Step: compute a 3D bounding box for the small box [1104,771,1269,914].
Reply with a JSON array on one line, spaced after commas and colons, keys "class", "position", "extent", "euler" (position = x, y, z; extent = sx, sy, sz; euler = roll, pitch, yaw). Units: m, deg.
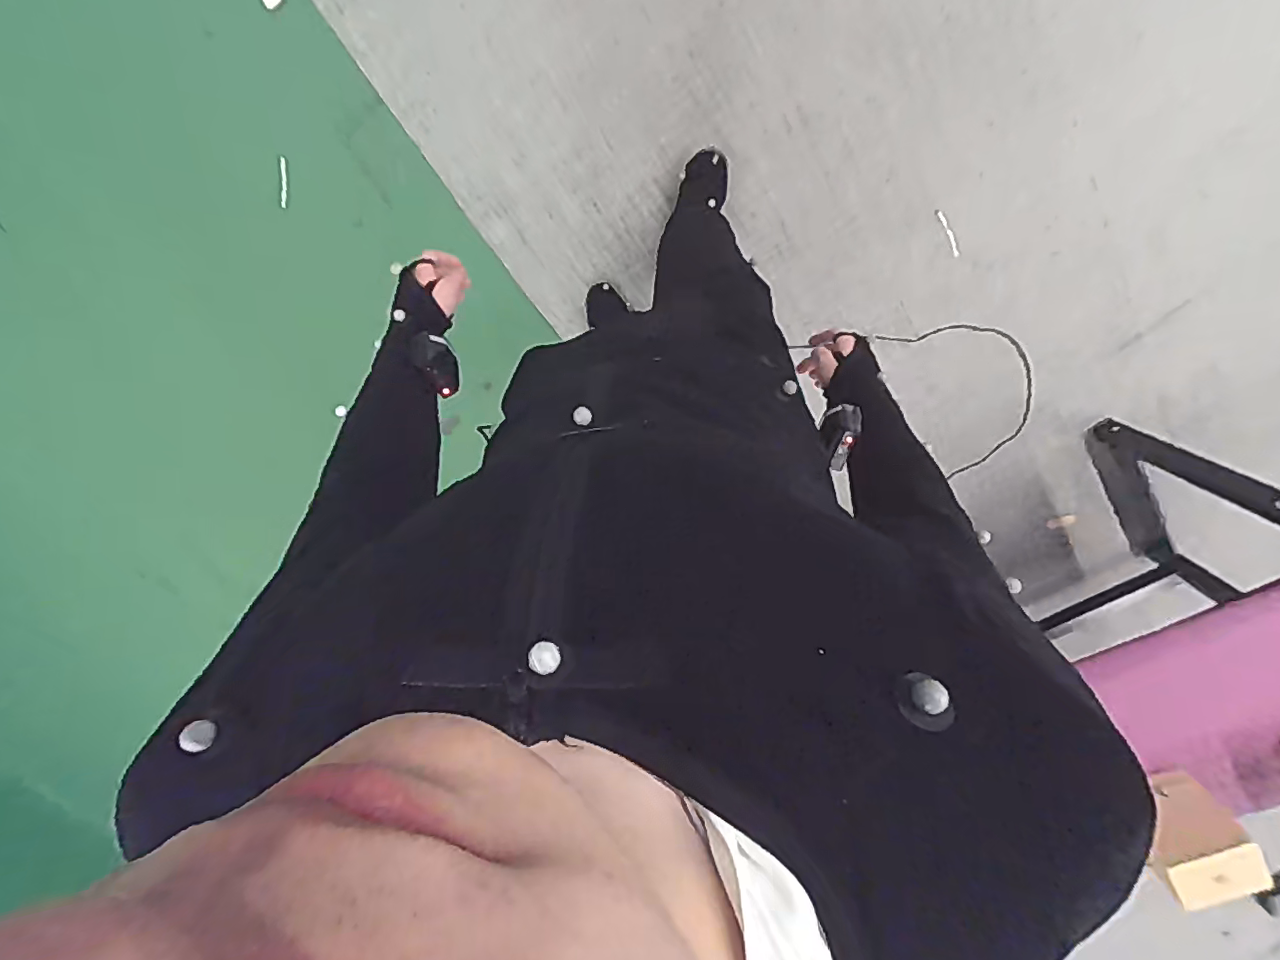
[{"class": "small box", "position": [1.144, 0.761, 1.144], "extent": [0.168, 0.176, 0.179], "euler": [-31, 110, 14]}]
